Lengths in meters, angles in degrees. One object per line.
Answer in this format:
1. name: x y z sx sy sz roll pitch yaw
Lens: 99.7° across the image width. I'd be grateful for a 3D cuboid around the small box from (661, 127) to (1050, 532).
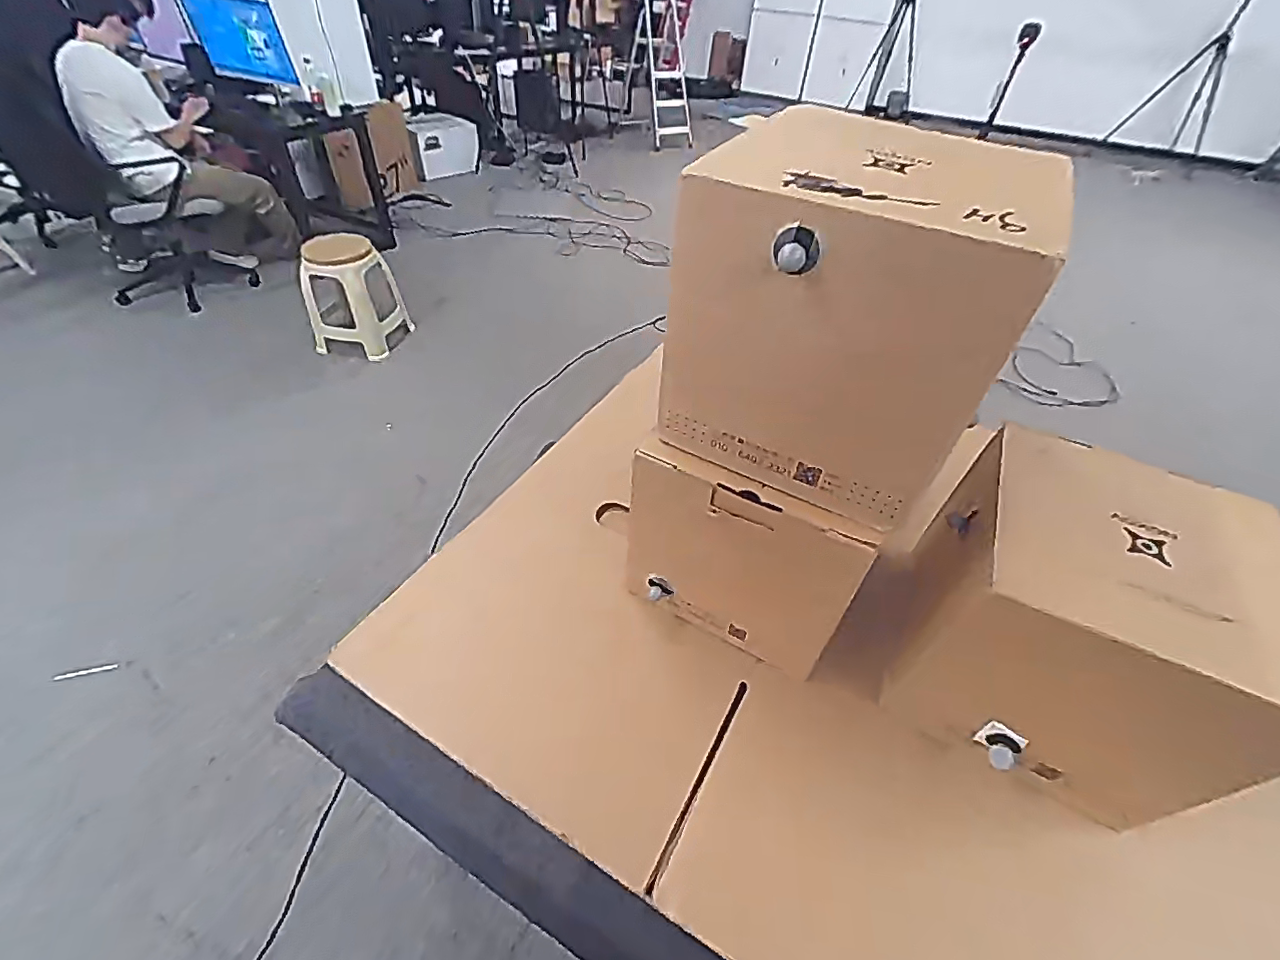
1. small box: 0.123 -0.102 0.346 0.168 0.176 0.179 24 47 20
